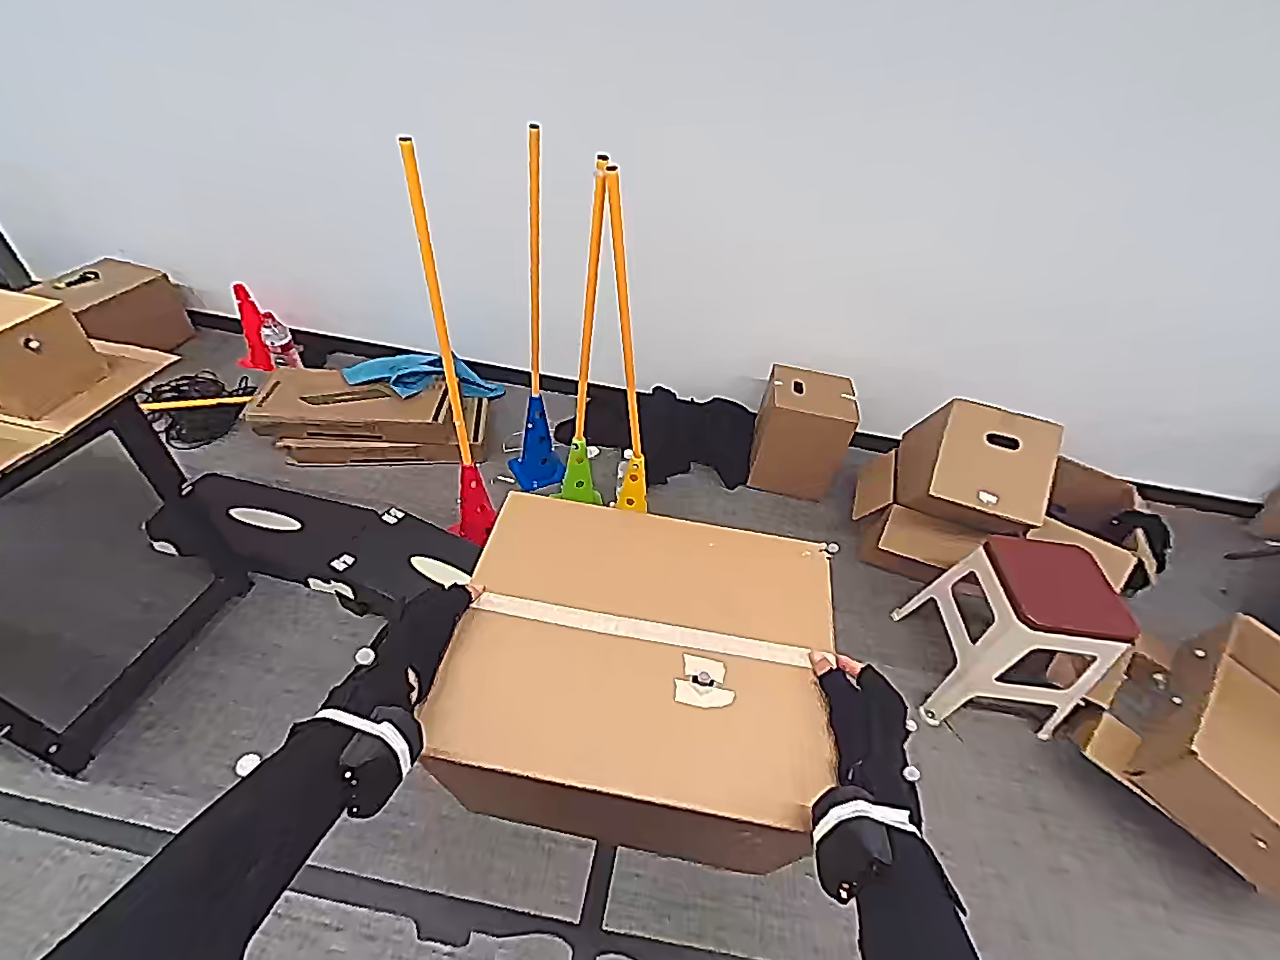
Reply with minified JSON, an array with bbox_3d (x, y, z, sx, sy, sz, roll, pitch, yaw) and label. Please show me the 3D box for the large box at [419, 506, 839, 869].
[{"bbox_3d":[-0.005,0.272,0.706,0.408,0.320,0.320,9,50,3],"label":"large box"}]
